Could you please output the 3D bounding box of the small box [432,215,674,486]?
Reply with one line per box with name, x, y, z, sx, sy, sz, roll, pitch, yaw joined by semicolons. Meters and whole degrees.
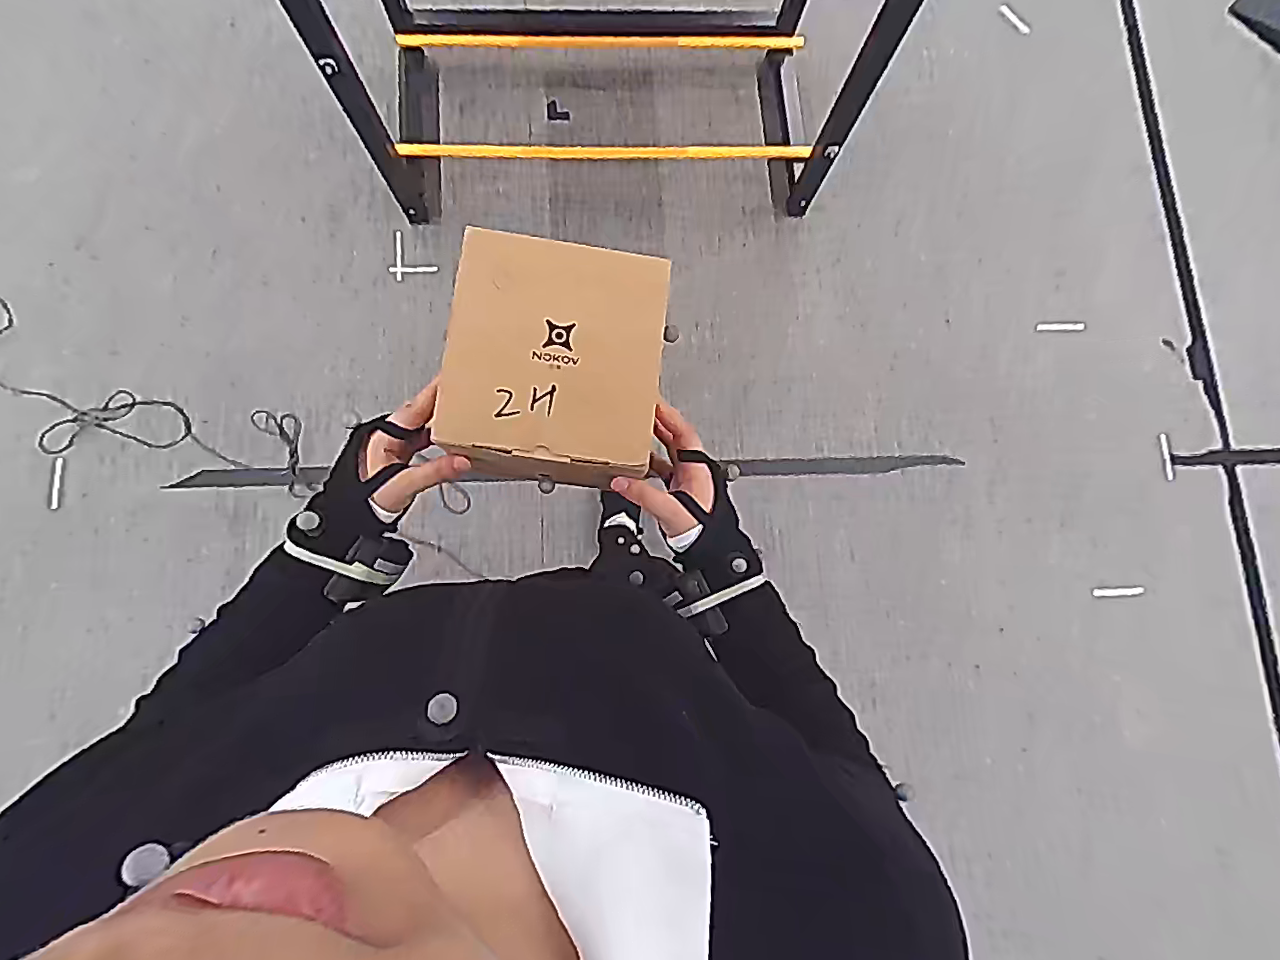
small box;-0.072;-0.099;0.492;0.168;0.176;0.179;8;82;-5
